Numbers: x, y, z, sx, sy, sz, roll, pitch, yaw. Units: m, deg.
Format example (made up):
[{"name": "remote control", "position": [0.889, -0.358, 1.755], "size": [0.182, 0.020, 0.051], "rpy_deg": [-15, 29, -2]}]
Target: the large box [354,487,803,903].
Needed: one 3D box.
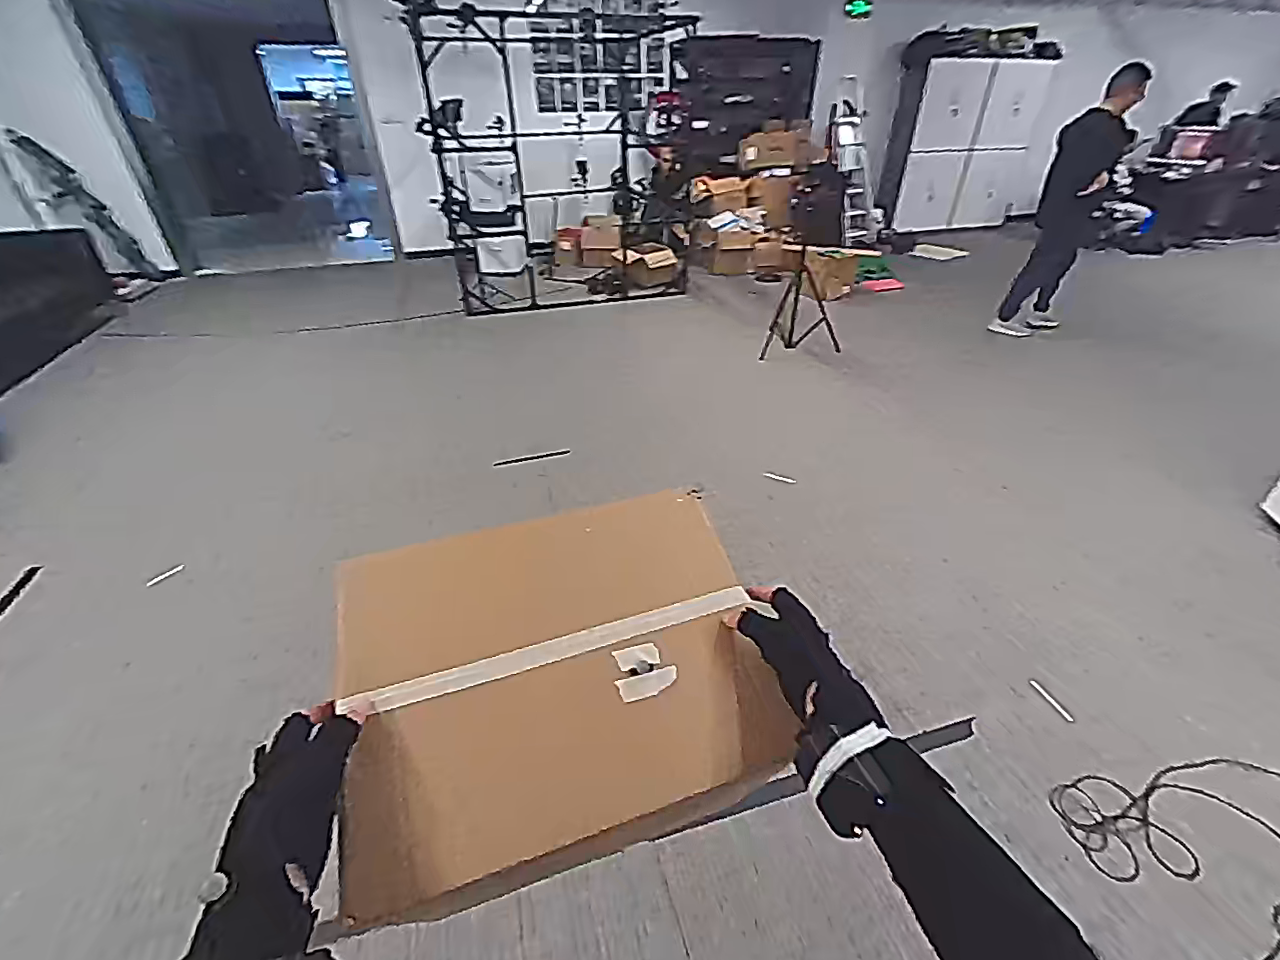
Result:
[{"name": "large box", "position": [-0.089, 0.256, 0.666], "size": [0.408, 0.320, 0.320], "rpy_deg": [-11, 54, -16]}]
